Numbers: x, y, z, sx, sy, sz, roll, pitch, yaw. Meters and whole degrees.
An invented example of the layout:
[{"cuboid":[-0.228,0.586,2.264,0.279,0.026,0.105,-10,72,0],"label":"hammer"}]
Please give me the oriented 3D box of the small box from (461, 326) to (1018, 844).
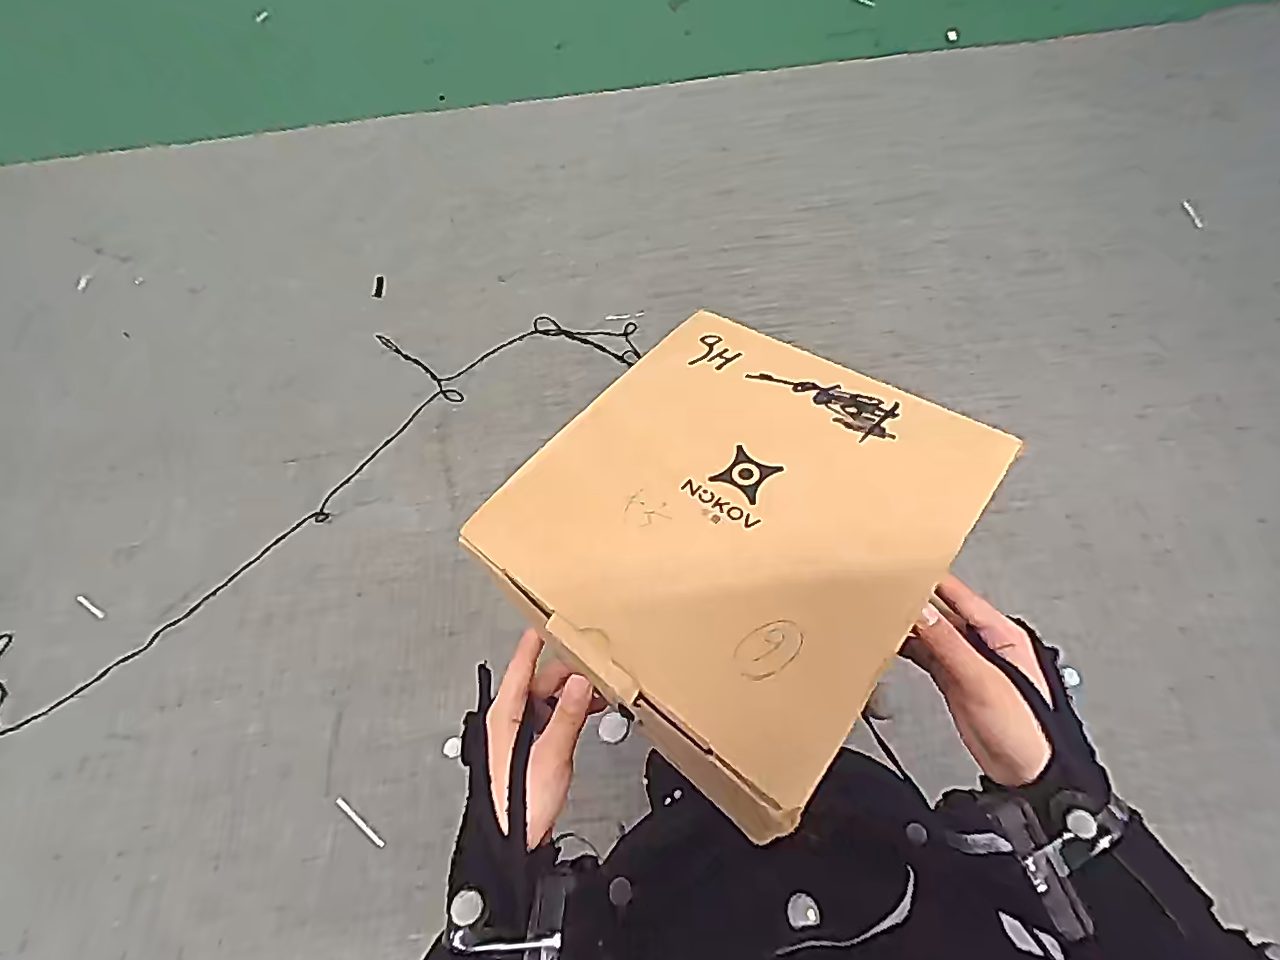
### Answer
[{"cuboid":[0.049,0.058,0.287,0.168,0.176,0.179,33,66,28],"label":"small box"}]
